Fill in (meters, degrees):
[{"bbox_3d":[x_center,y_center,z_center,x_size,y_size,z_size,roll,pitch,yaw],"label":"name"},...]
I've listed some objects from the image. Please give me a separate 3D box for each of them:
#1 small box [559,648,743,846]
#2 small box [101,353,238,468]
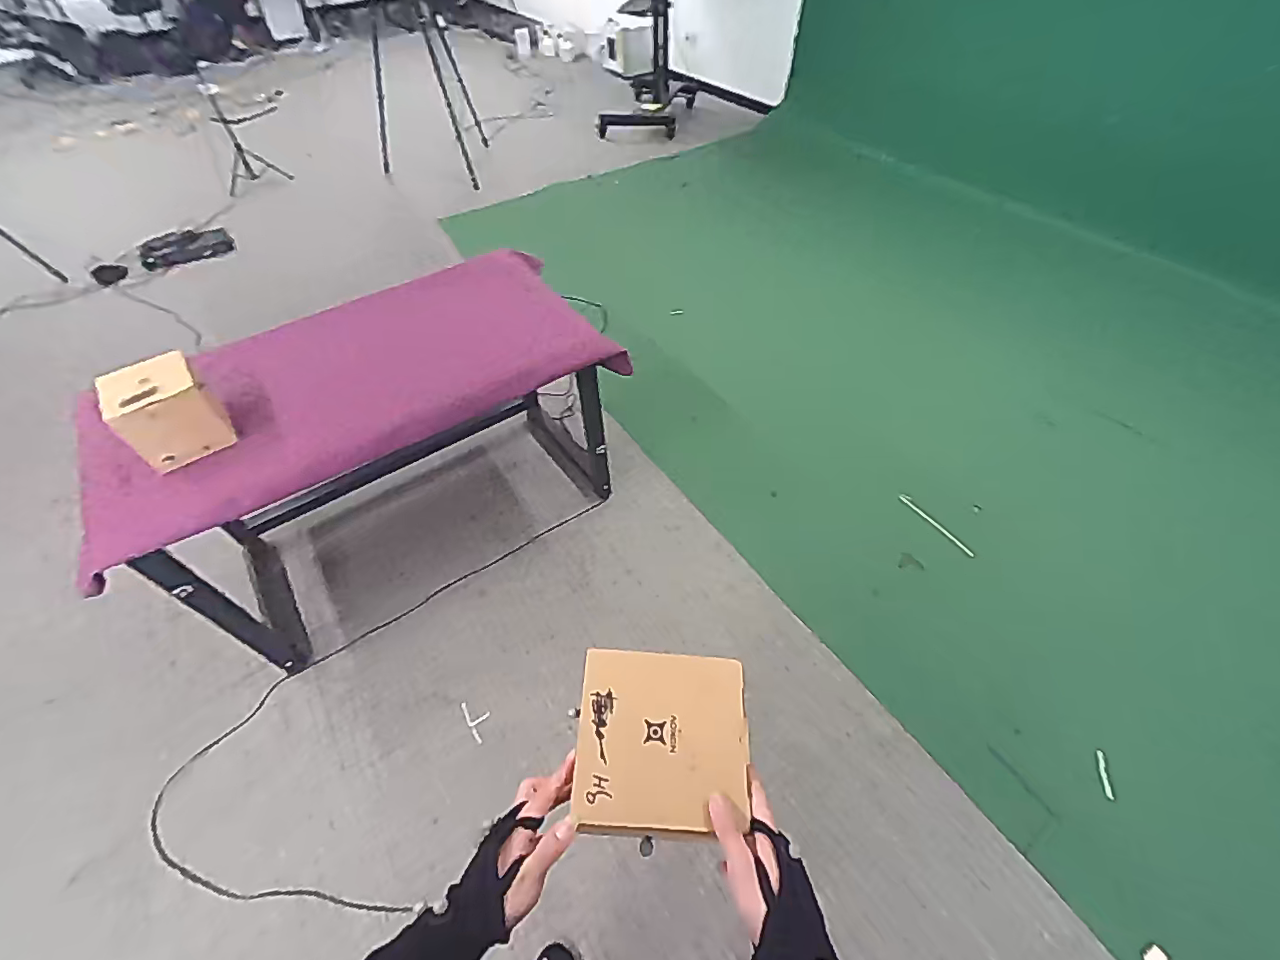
[{"bbox_3d":[0.007,0.307,0.612,0.179,0.176,0.168,7,52,-3],"label":"small box"},{"bbox_3d":[-1.050,-0.150,1.217,0.168,0.176,0.179,-31,55,-23],"label":"small box"}]
